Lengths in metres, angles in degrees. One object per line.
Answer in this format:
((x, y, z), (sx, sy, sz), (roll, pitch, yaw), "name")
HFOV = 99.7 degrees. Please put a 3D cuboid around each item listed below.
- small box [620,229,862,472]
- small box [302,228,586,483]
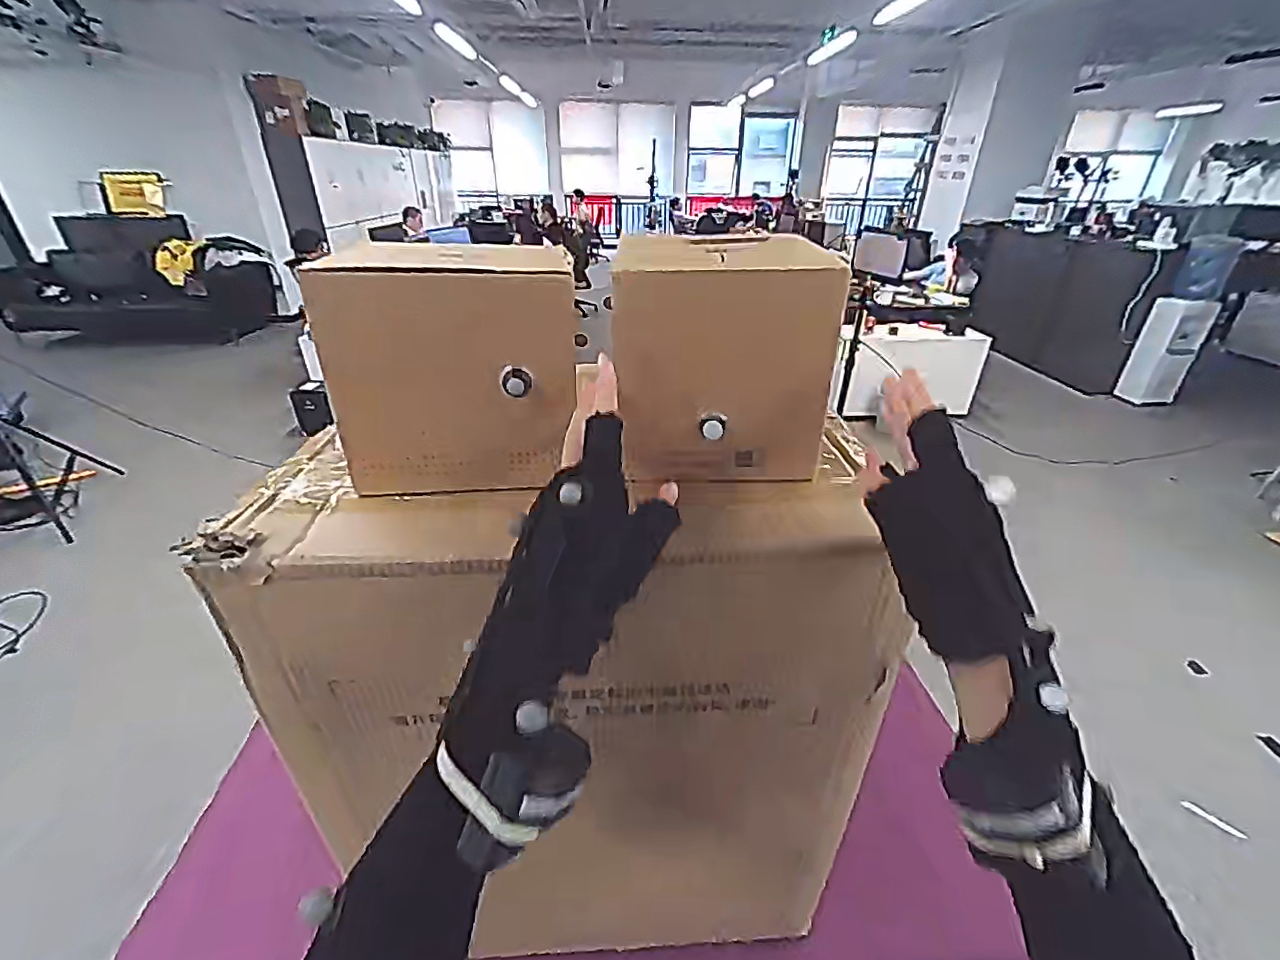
((0.070, -0.121, 0.472), (0.168, 0.176, 0.179), (0, 30, 2), "small box")
((-0.137, -0.108, 0.450), (0.179, 0.176, 0.168), (-3, 28, -8), "small box")
